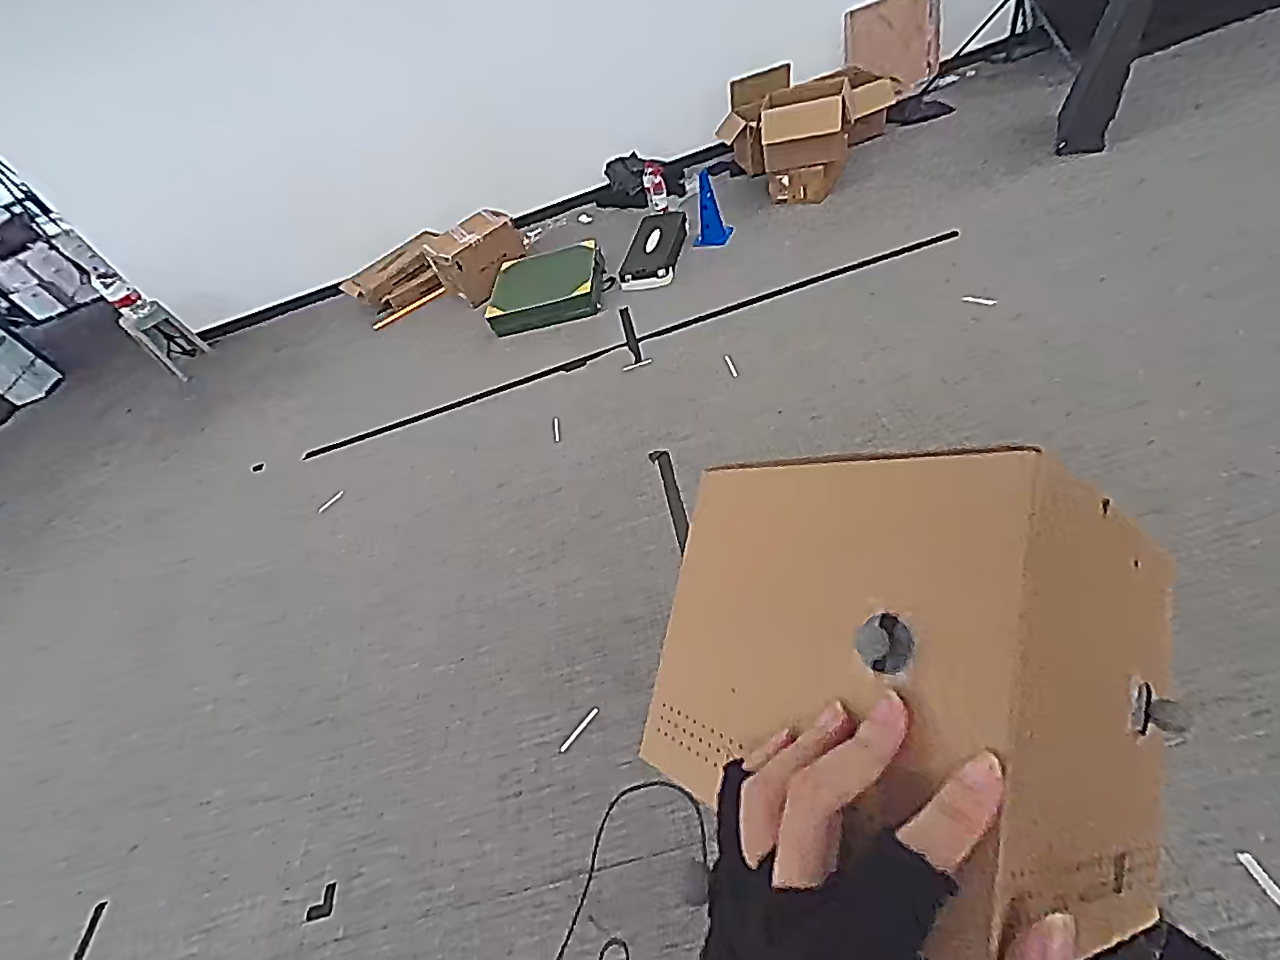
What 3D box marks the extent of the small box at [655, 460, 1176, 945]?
[{"bbox_3d":[0.132,0.097,0.280,0.179,0.168,0.176,-4,70,57],"label":"small box"}]
